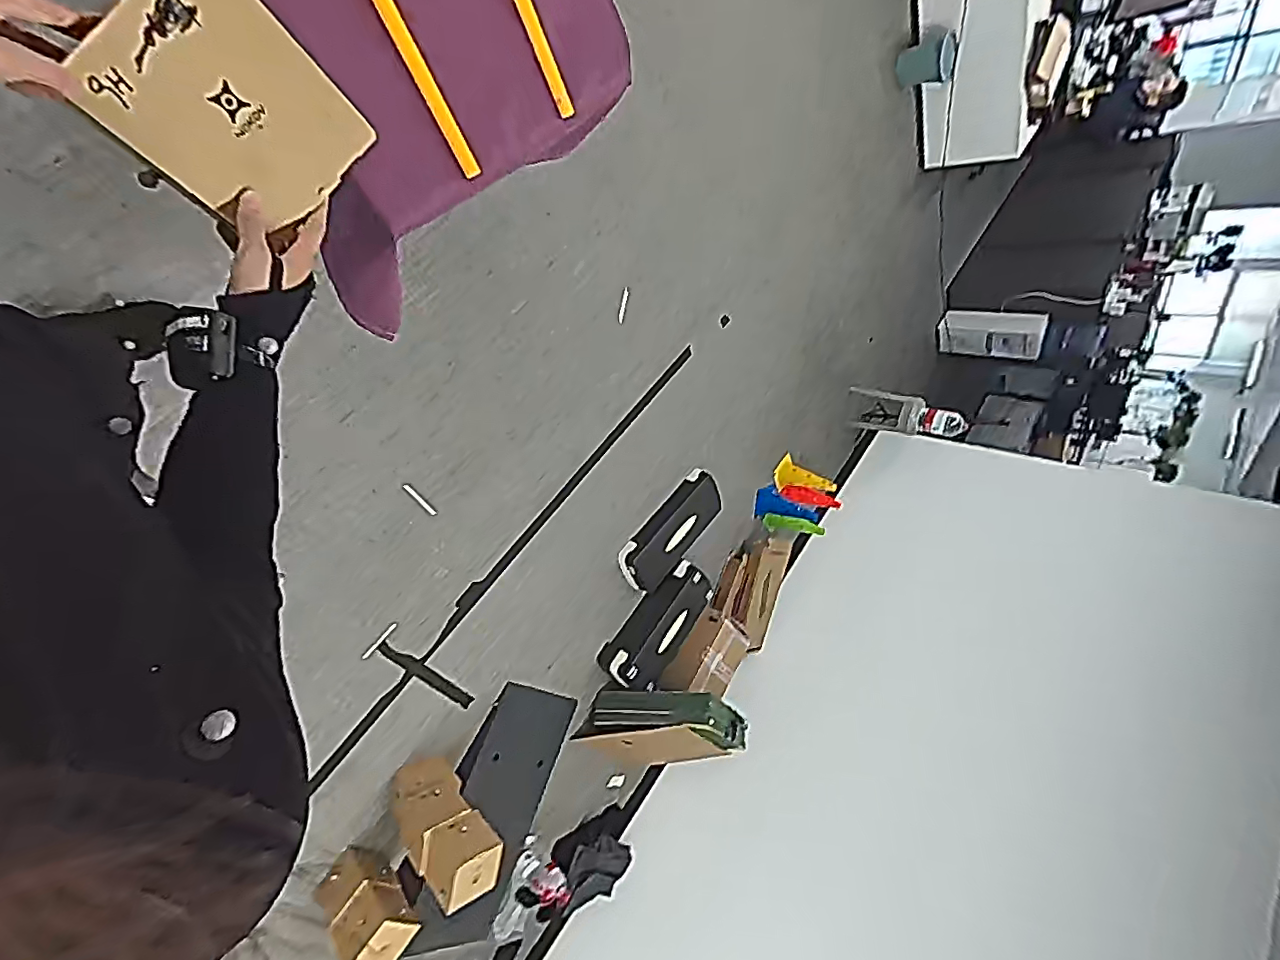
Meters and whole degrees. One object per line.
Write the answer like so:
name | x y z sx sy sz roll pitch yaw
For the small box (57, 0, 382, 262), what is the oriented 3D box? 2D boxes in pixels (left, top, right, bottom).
small box | -0.403 -0.351 0.527 0.168 0.176 0.179 -54 144 -6
